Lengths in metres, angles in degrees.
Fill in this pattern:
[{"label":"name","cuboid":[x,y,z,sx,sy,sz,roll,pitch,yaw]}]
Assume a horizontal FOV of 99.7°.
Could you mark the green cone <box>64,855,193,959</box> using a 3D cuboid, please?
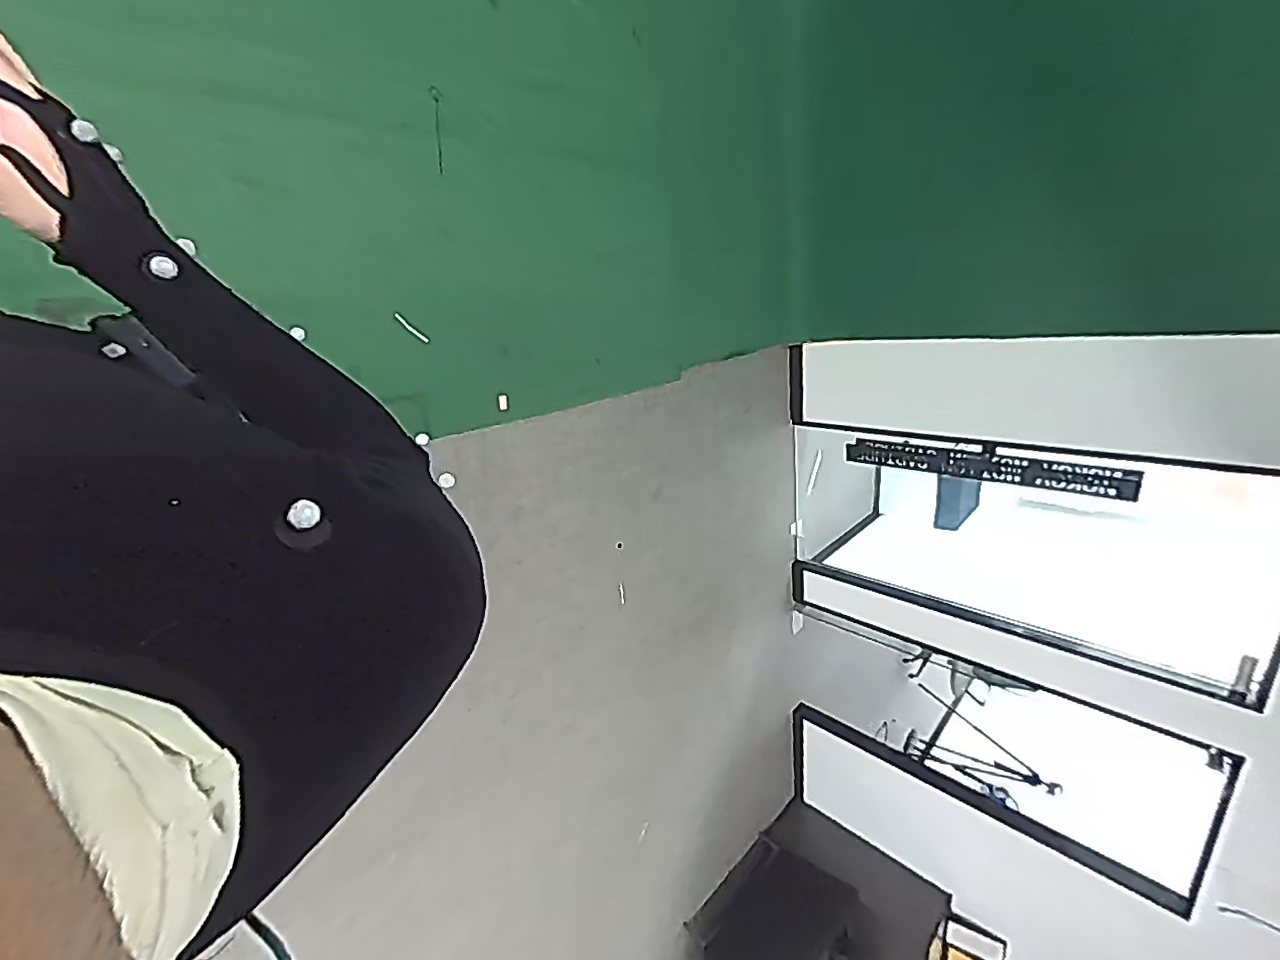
[{"label":"green cone","cuboid":[-1.143,1.090,1.222,0.202,0.368,0.200,-21,113,-39]}]
